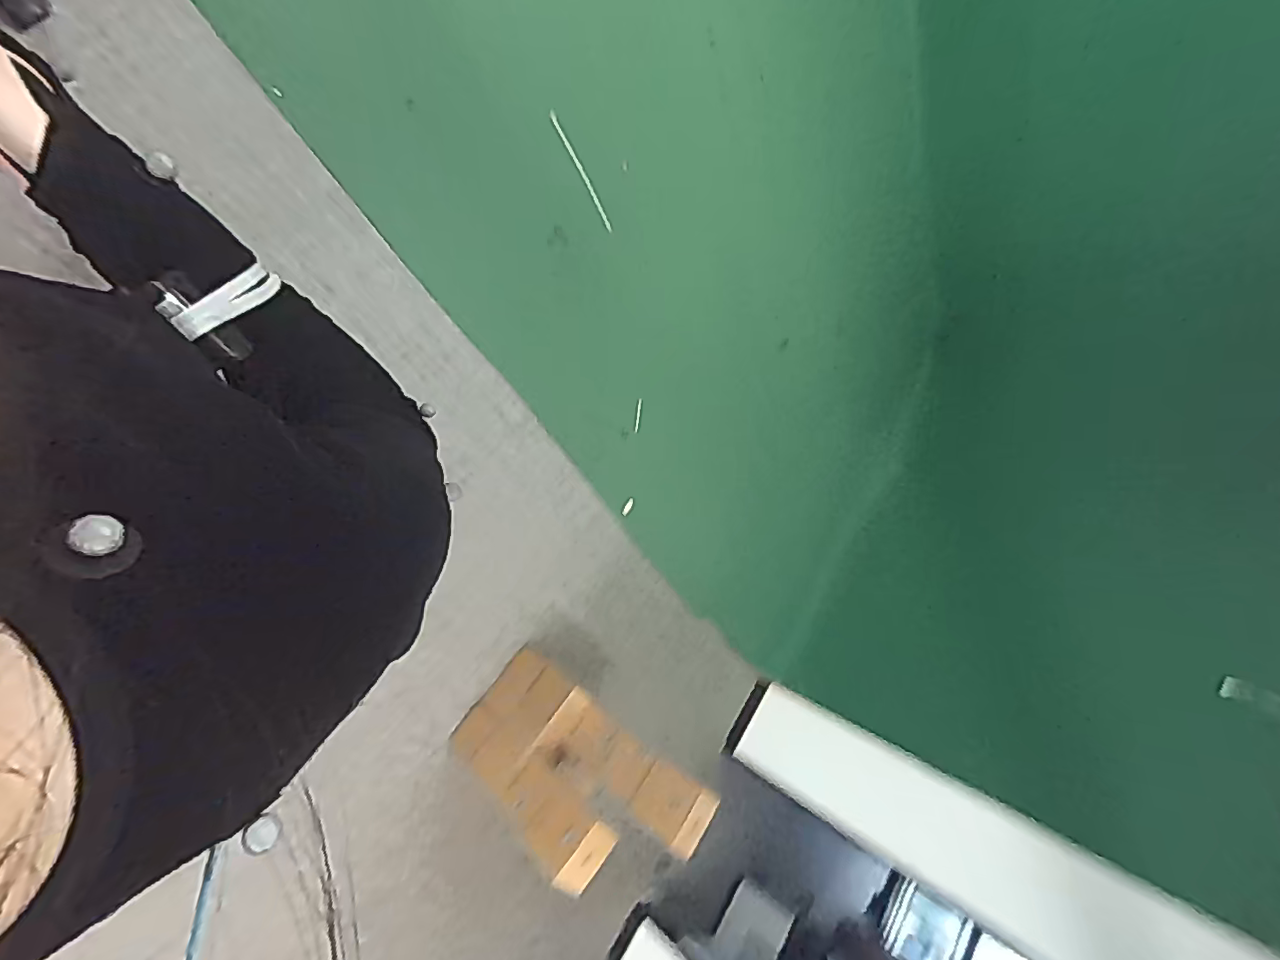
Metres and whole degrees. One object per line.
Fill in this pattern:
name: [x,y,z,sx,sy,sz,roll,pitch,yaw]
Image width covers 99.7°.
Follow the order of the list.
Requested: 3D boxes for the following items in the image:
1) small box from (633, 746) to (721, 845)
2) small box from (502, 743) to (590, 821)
small box: [0.108,0.932,1.607,0.179,0.176,0.168,-51,135,-22]
small box: [-0.295,0.955,1.684,0.168,0.176,0.179,-47,134,-22]
